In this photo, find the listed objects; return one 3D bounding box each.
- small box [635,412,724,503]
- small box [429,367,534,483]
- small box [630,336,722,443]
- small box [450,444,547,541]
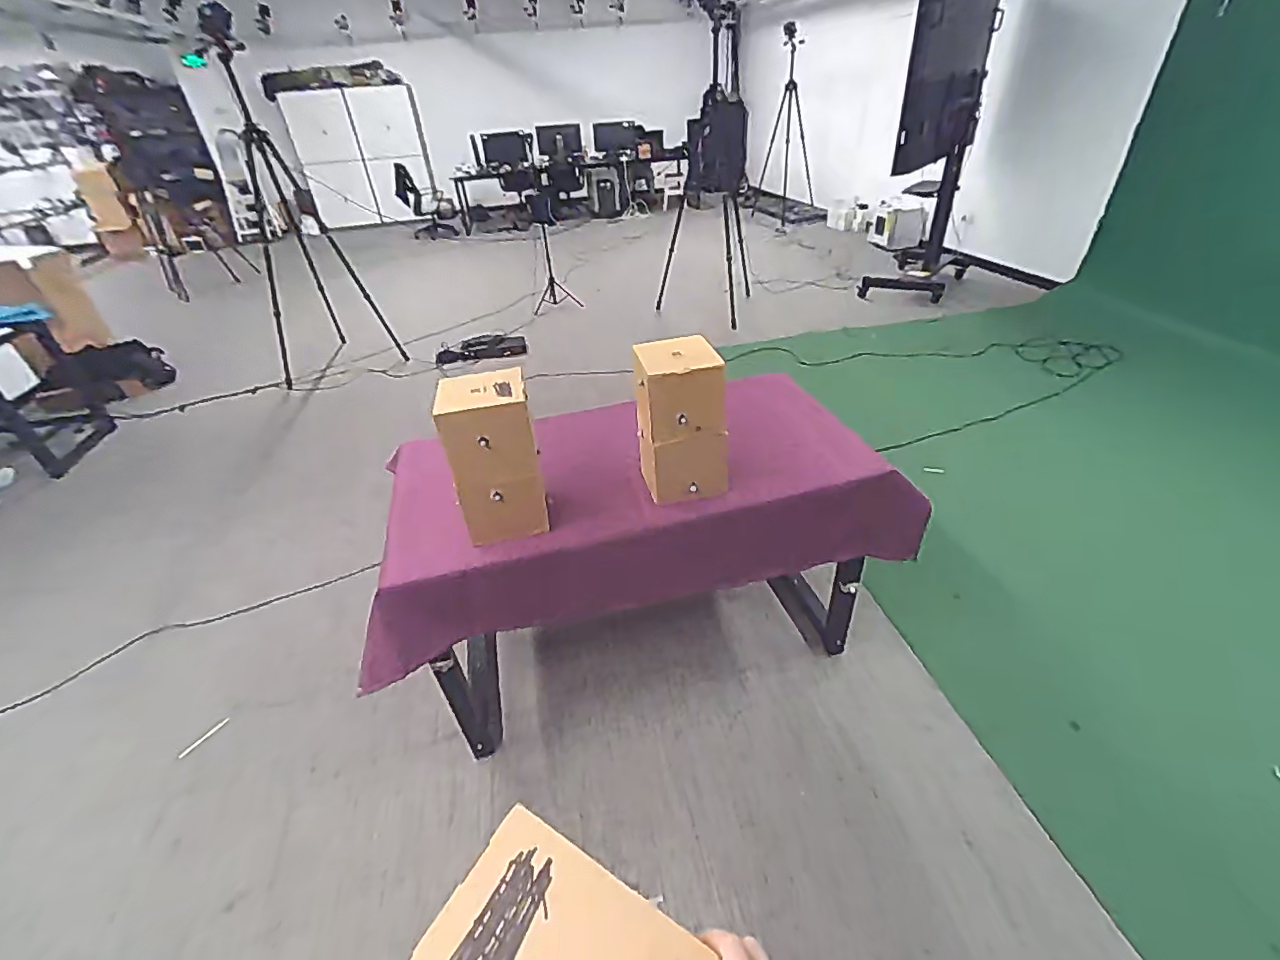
[{"bbox_3d":[0.091,-0.066,1.296,0.179,0.176,0.168,-10,36,-9],"label":"small box"},{"bbox_3d":[-0.320,-0.115,1.129,0.179,0.176,0.168,-11,37,-7],"label":"small box"},{"bbox_3d":[0.076,-0.204,1.209,0.168,0.176,0.179,-11,37,-8],"label":"small box"},{"bbox_3d":[-0.315,0.020,1.222,0.179,0.176,0.168,-9,36,-8],"label":"small box"}]
